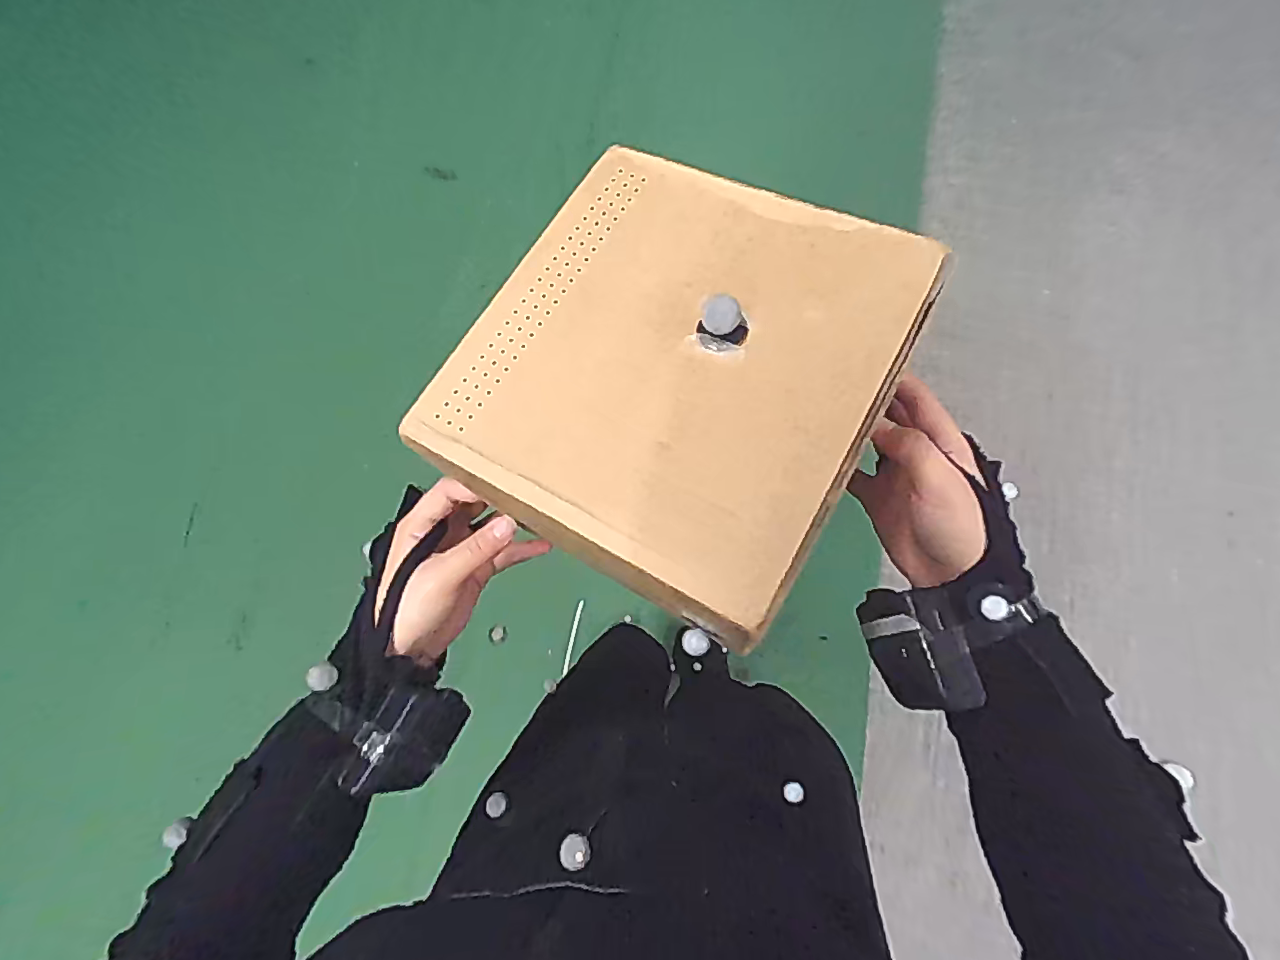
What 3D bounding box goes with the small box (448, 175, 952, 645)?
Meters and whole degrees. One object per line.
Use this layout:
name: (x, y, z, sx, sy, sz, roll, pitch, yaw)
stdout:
small box: (0.031, -0.031, 0.305, 0.176, 0.168, 0.179, 27, 76, 17)
